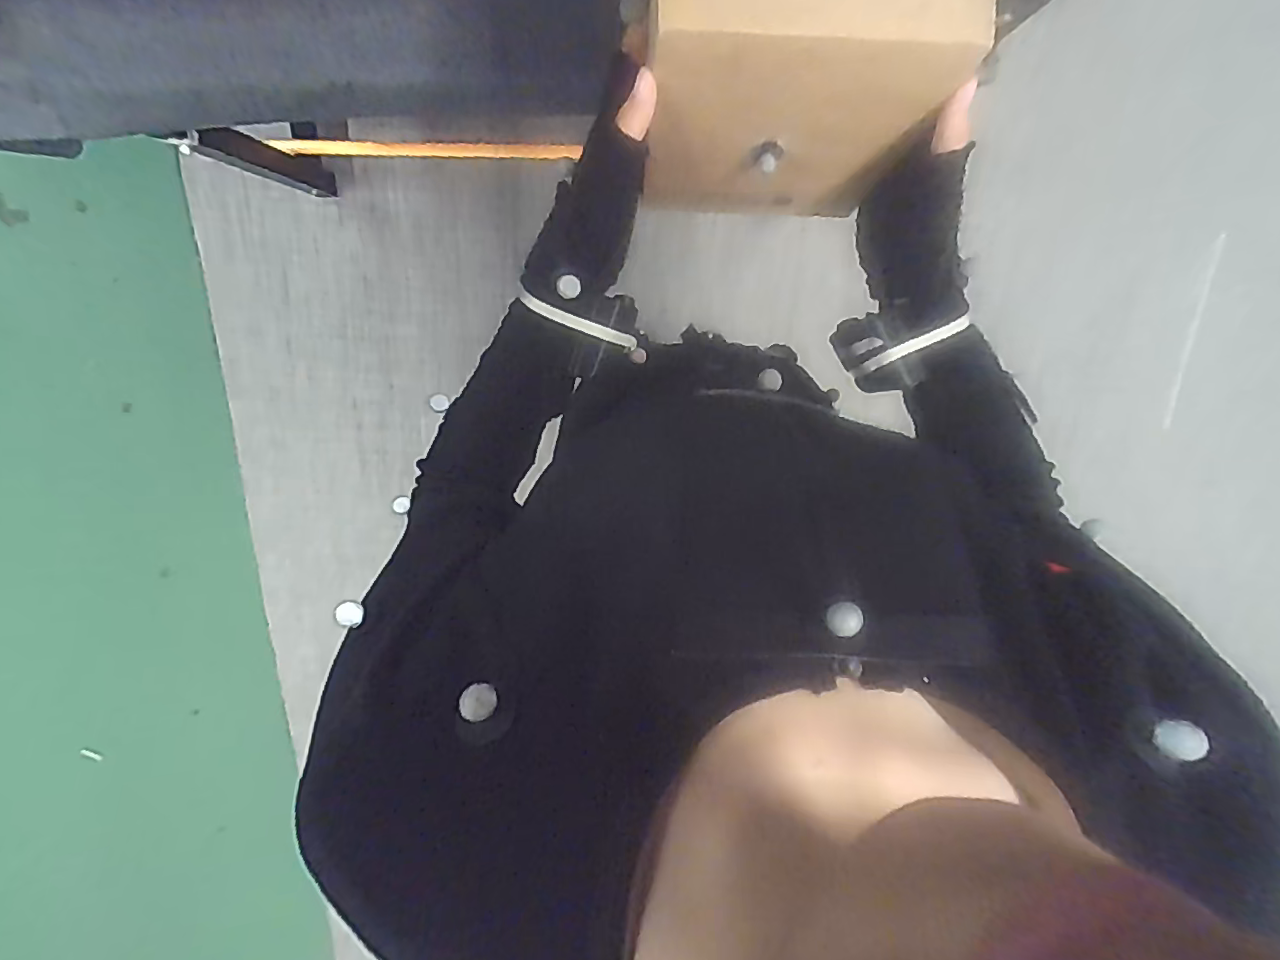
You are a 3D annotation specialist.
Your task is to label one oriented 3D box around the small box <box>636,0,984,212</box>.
[{"bbox_3d":[0.084,-0.295,0.341,0.168,0.176,0.179,1,87,-3],"label":"small box"}]
